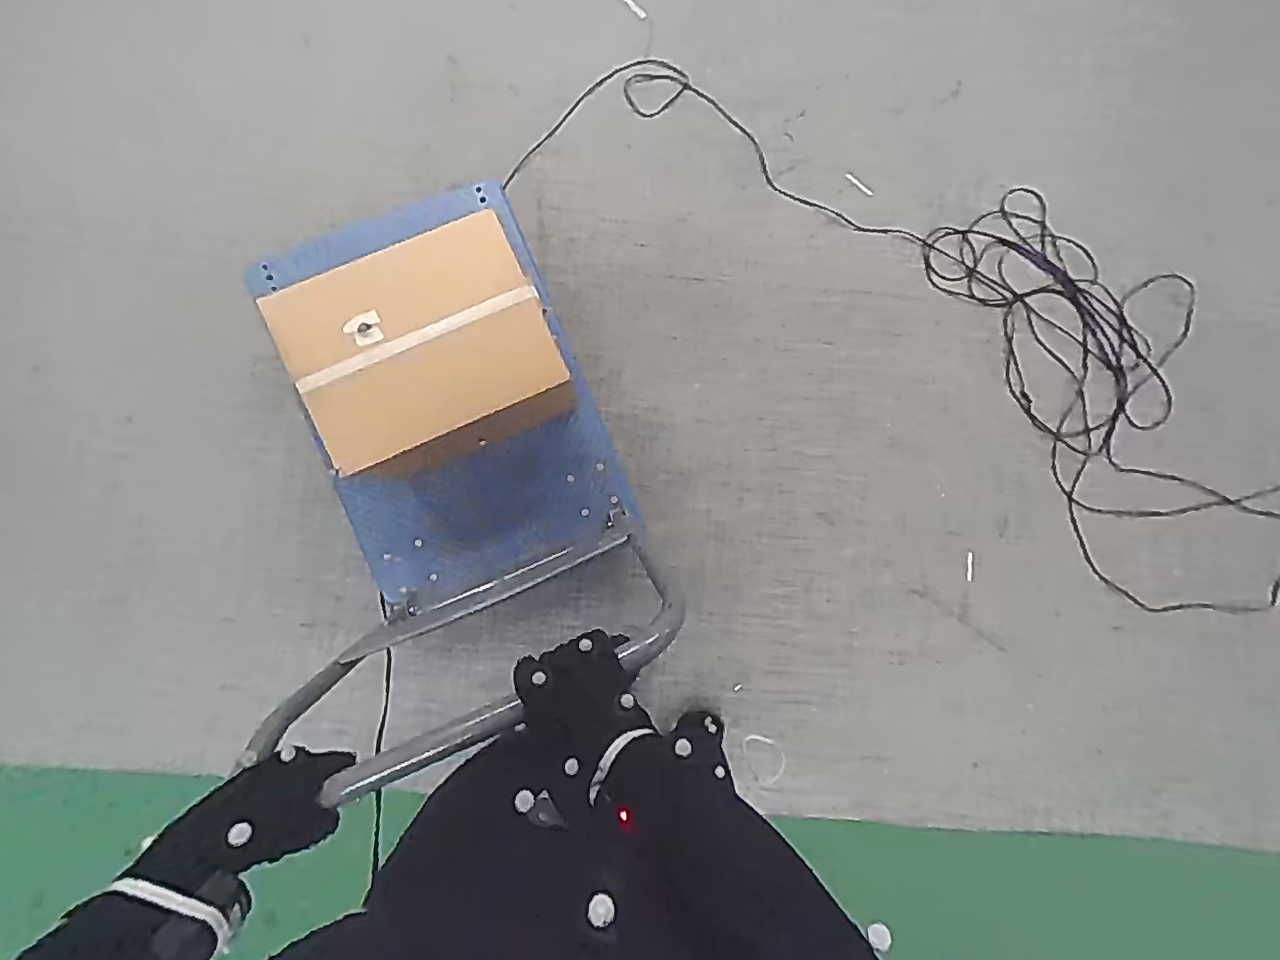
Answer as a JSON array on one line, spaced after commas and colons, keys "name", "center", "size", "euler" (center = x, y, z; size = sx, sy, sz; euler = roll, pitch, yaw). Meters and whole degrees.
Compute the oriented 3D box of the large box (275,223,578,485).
[{"name": "large box", "center": [-0.367, -0.212, 1.047], "size": [0.408, 0.320, 0.320], "euler": [-25, 90, -4]}]
